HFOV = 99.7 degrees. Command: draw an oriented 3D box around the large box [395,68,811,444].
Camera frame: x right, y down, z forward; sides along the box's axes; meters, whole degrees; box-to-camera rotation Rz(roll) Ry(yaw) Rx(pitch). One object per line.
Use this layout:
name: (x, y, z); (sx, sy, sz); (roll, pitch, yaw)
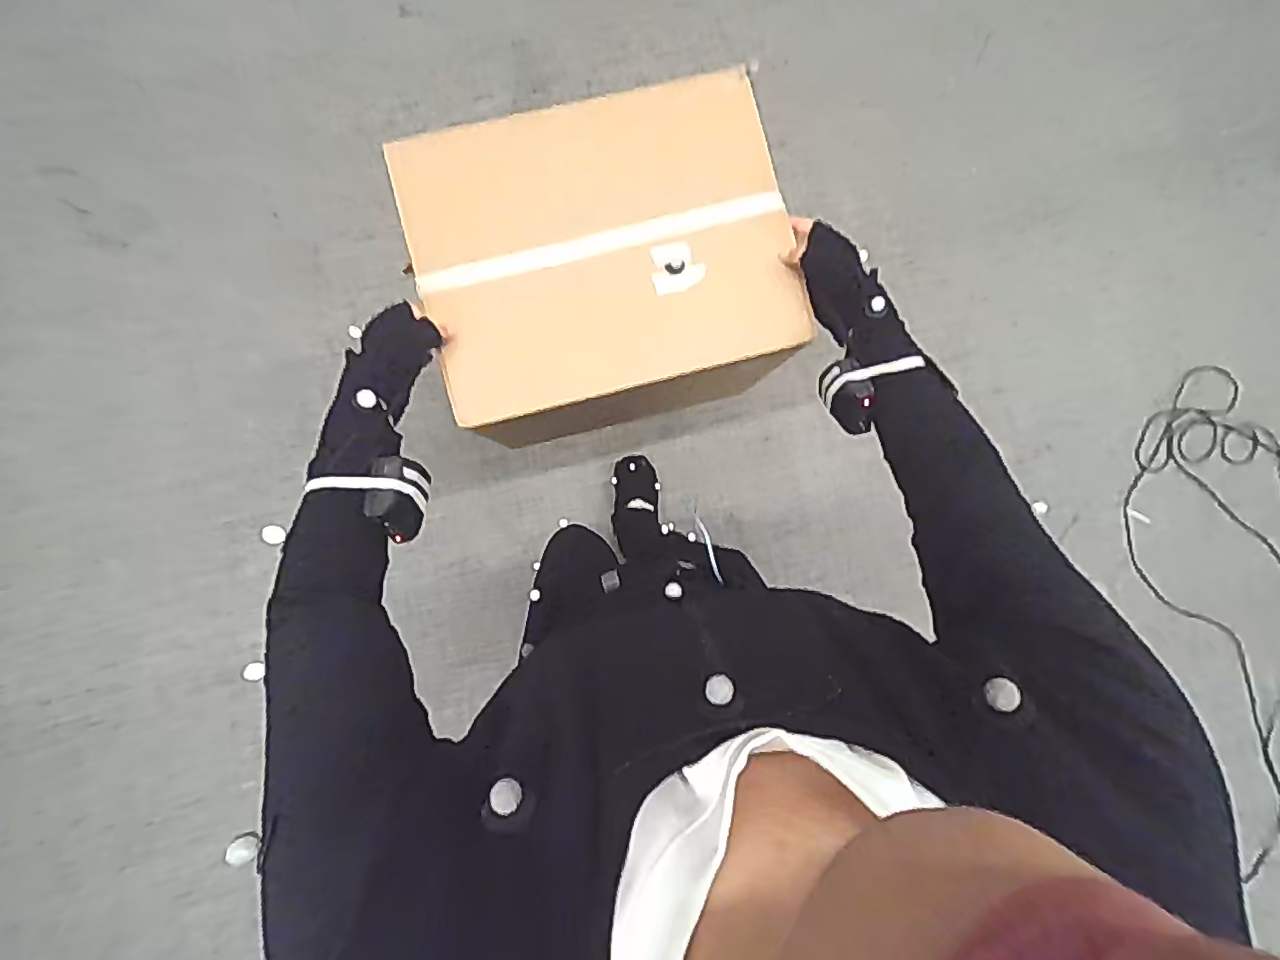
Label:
large box: (-0.046, -0.259, 0.740); (0.408, 0.320, 0.320); (-15, 90, -4)
